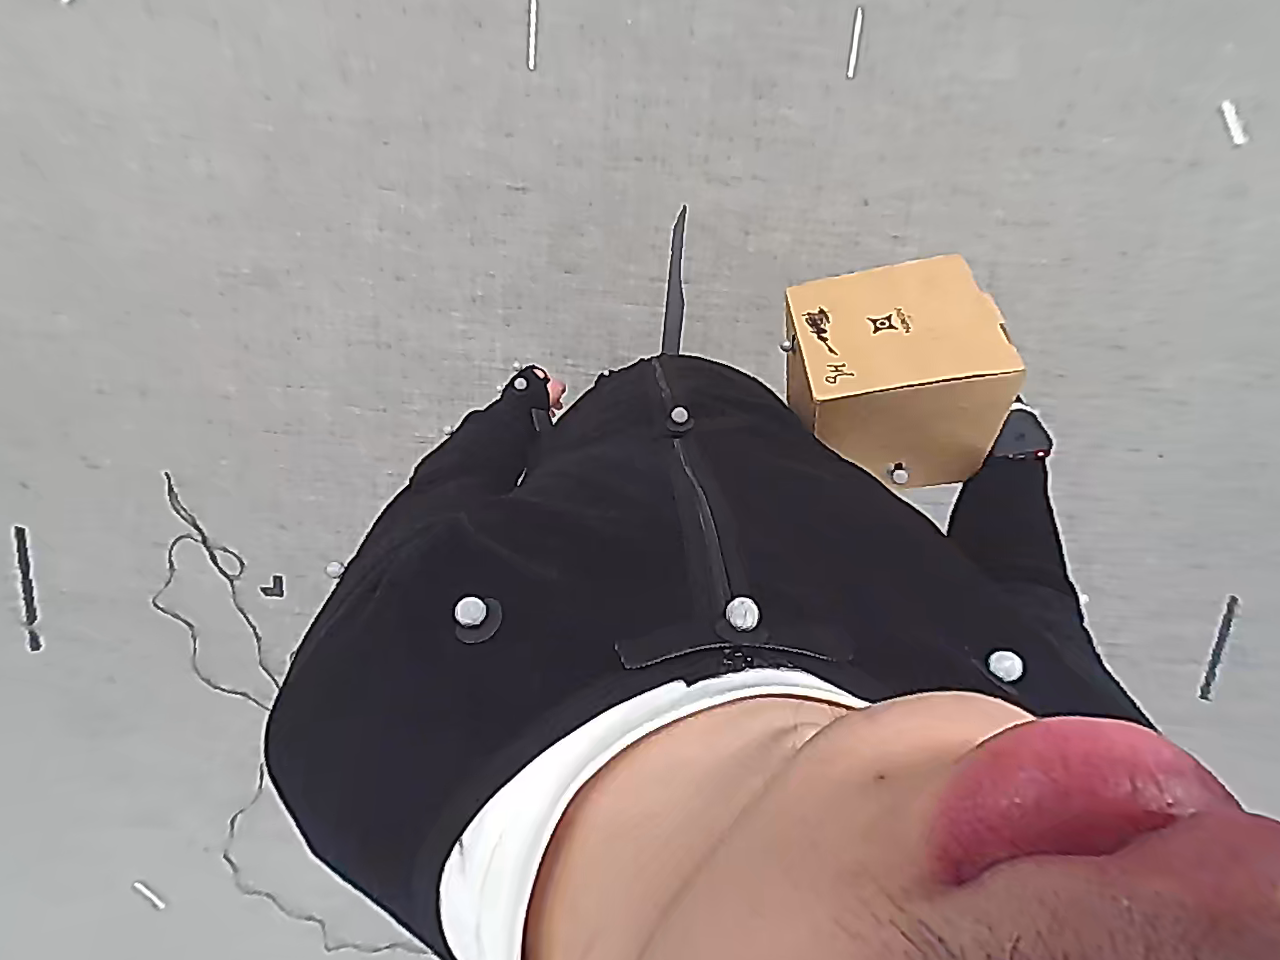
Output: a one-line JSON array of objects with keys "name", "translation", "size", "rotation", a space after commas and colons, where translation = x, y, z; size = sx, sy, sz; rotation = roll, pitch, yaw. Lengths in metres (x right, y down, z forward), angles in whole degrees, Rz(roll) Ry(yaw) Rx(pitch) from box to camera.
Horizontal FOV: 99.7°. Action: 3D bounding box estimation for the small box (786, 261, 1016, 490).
[{"name": "small box", "translation": [0.261, -0.106, 0.594], "size": [0.179, 0.168, 0.176], "rotation": [-7, 143, 10]}]
